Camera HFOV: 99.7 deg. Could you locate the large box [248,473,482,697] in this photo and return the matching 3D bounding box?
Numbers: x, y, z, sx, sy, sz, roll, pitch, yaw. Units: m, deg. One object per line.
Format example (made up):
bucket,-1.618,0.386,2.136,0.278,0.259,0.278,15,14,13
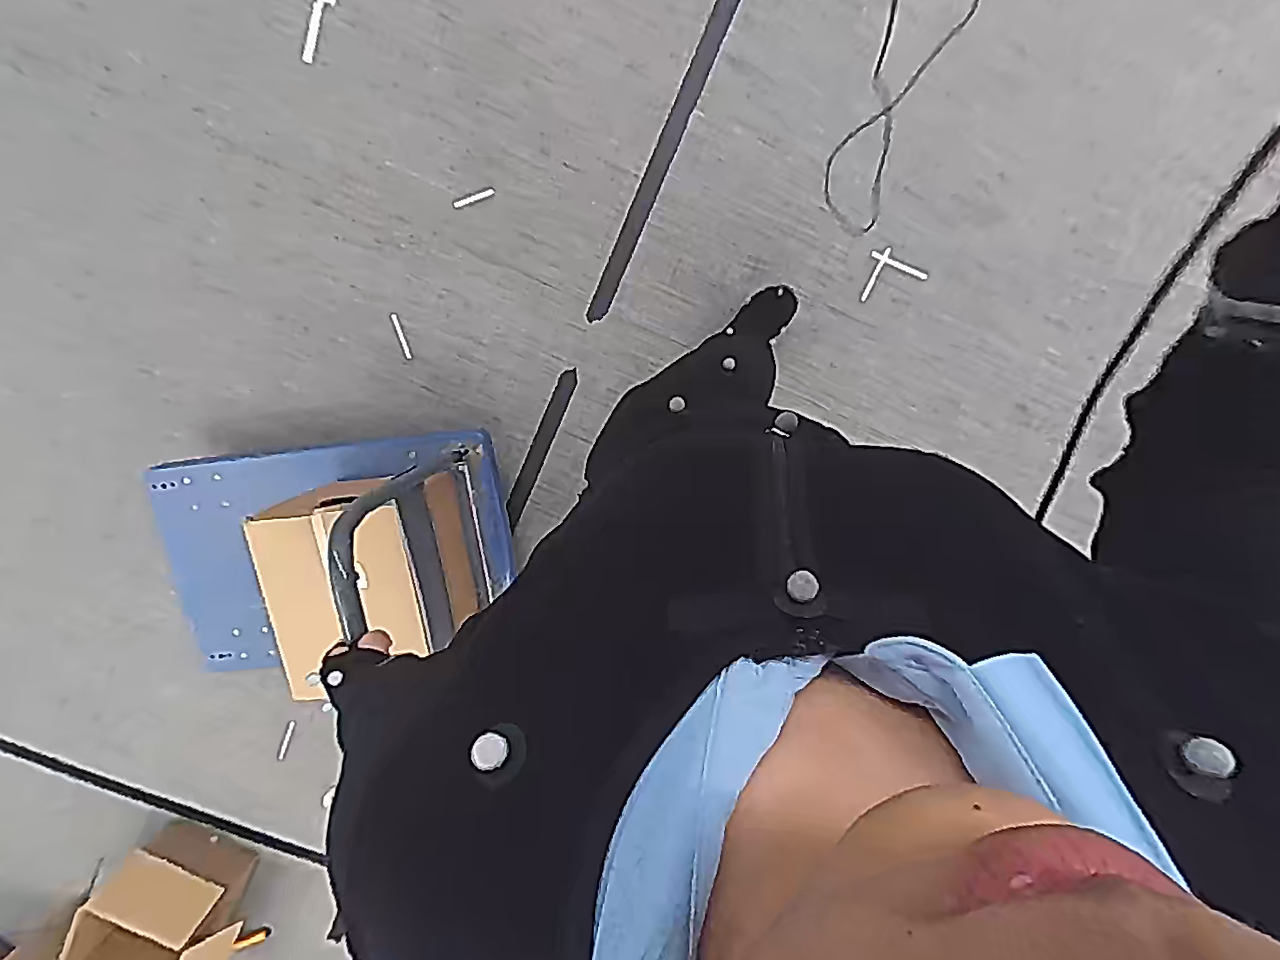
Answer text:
large box,-0.591,0.222,1.240,0.320,0.320,0.408,-6,103,2
